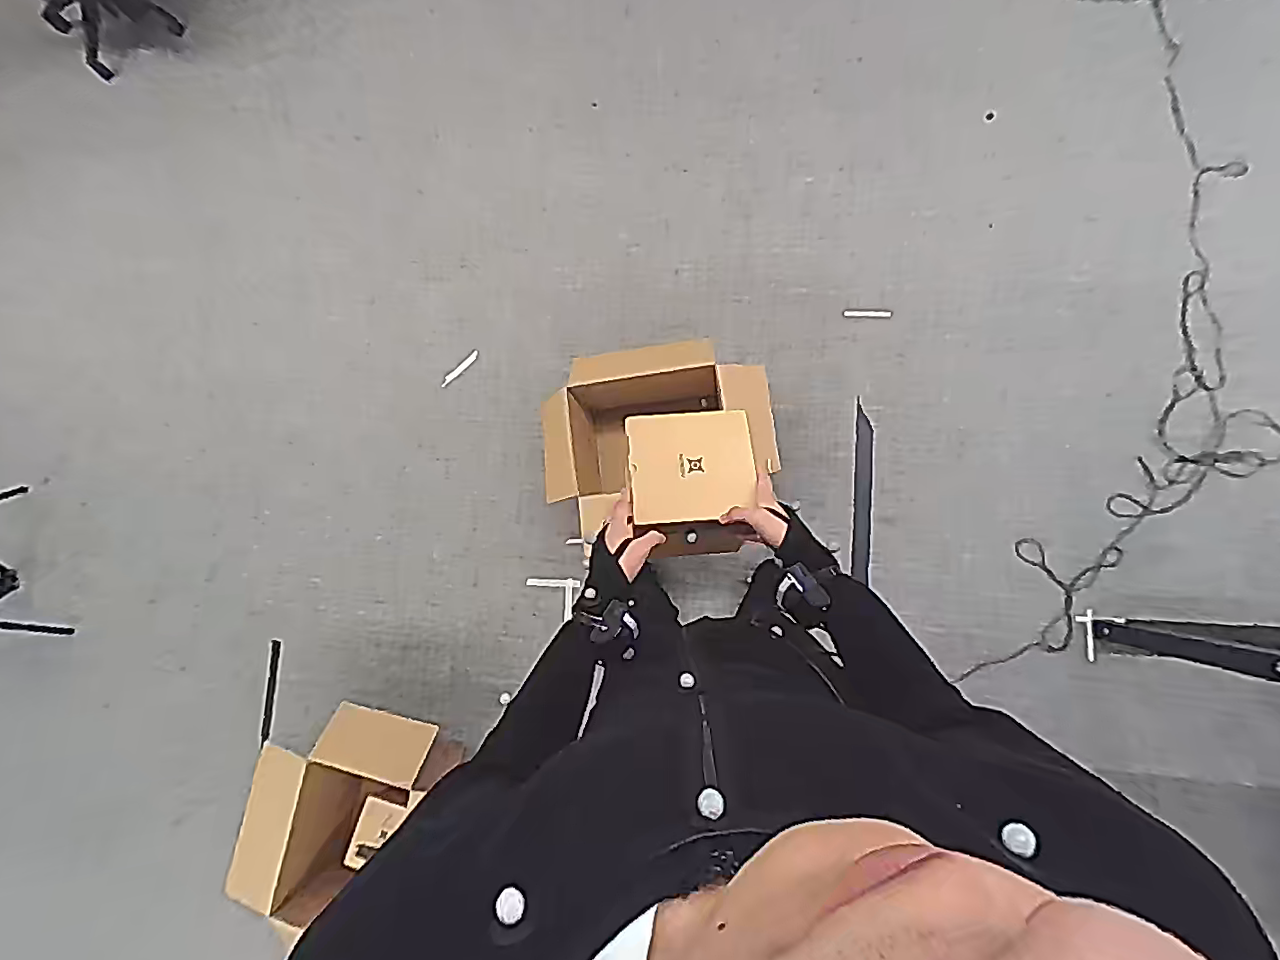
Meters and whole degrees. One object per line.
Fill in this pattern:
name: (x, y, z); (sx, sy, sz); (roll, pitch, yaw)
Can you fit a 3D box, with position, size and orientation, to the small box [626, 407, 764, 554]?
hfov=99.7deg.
small box: (0.071, 0.007, 0.807); (0.179, 0.176, 0.168); (-5, 67, -1)
